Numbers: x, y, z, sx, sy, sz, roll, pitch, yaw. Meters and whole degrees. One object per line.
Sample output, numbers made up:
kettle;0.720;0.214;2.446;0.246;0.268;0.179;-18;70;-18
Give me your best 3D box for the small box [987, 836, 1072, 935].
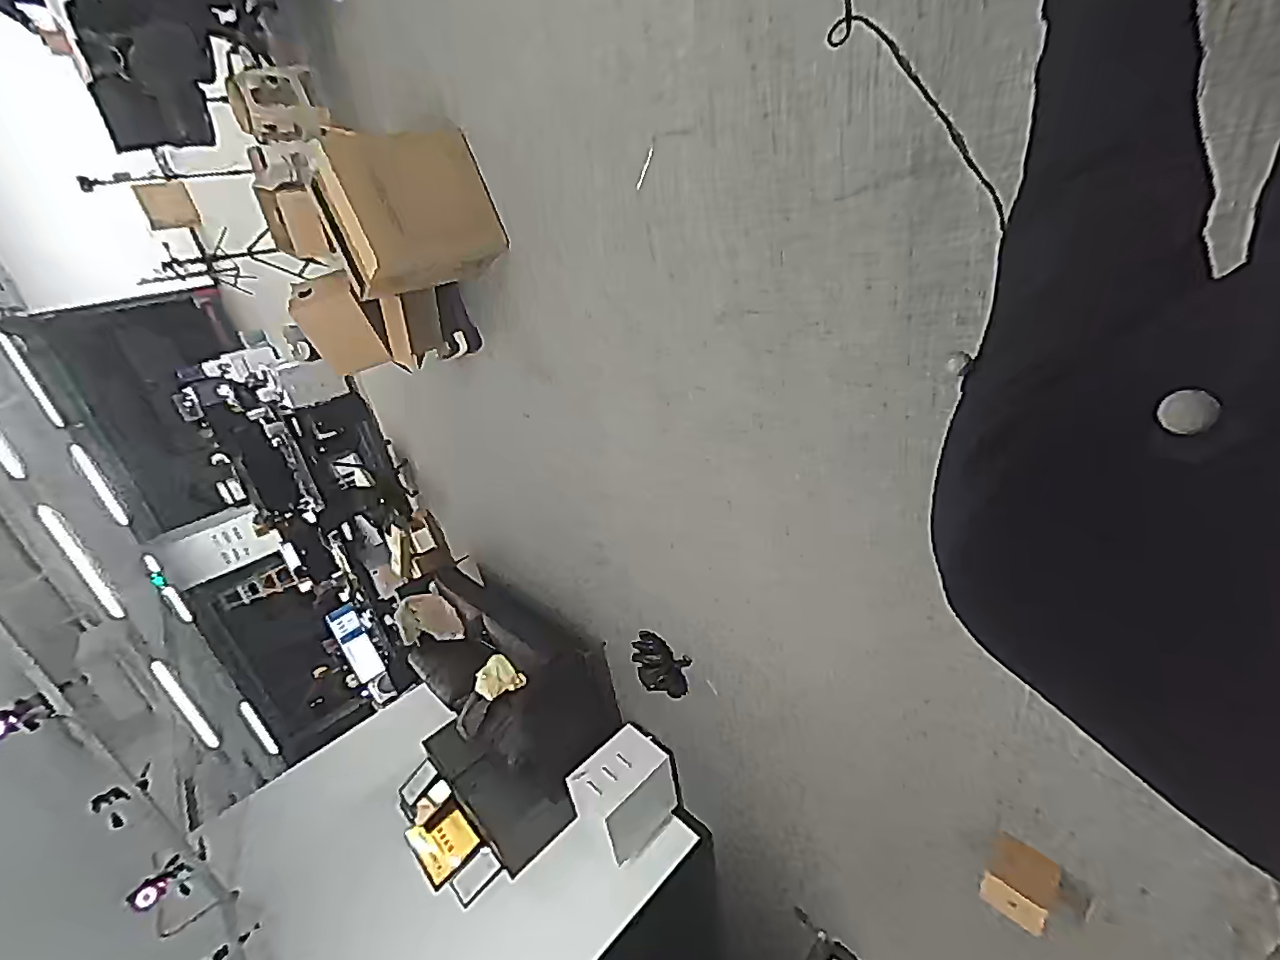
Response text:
small box;1.272;1.312;1.769;0.179;0.176;0.168;19;129;43
